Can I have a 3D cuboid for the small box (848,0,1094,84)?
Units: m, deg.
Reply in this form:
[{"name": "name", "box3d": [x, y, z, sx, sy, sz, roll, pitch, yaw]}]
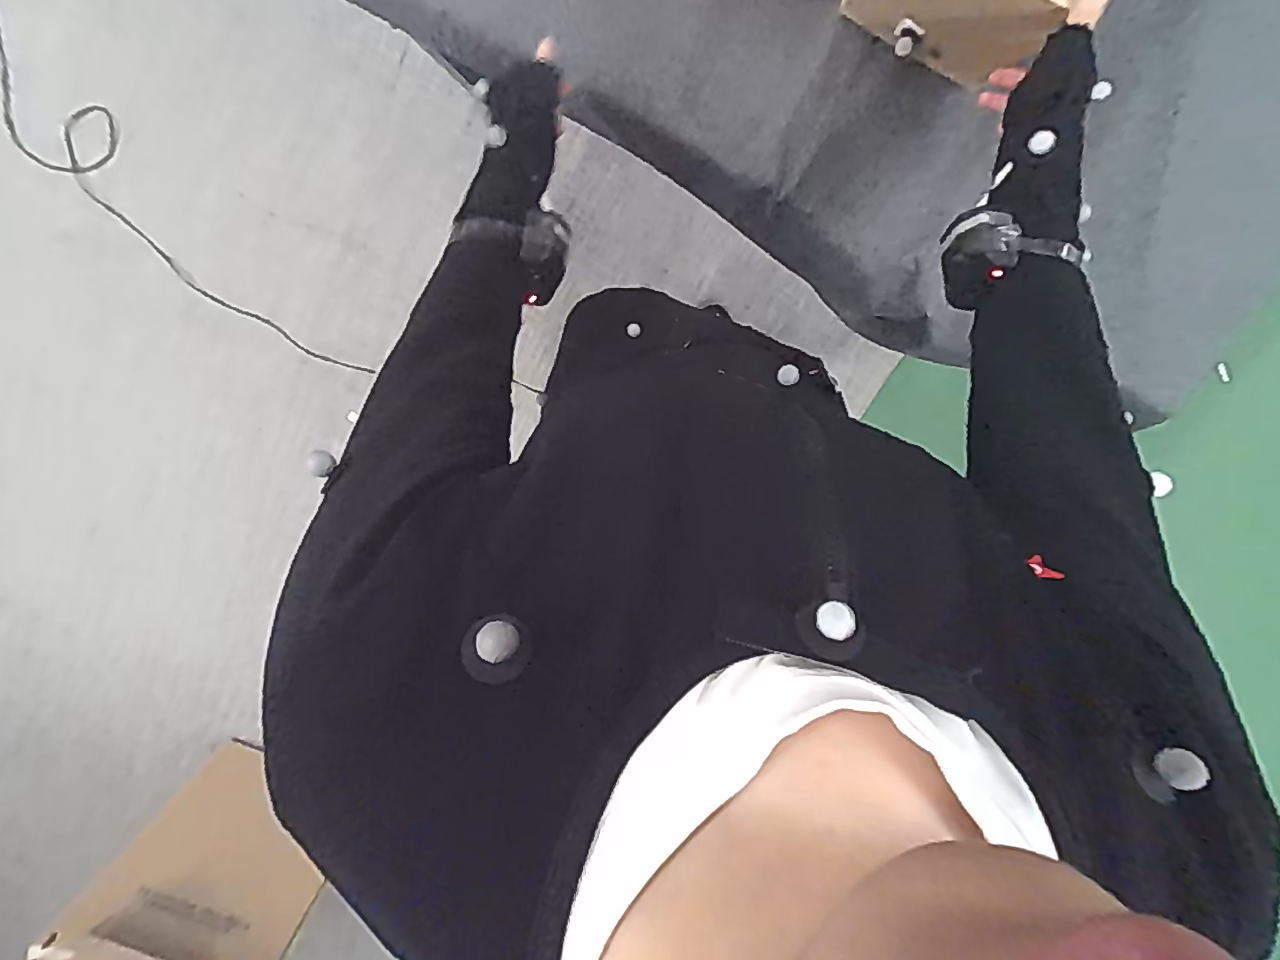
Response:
[{"name": "small box", "box3d": [0.304, -0.485, 0.452, 0.168, 0.176, 0.179, 24, 110, -5]}]
